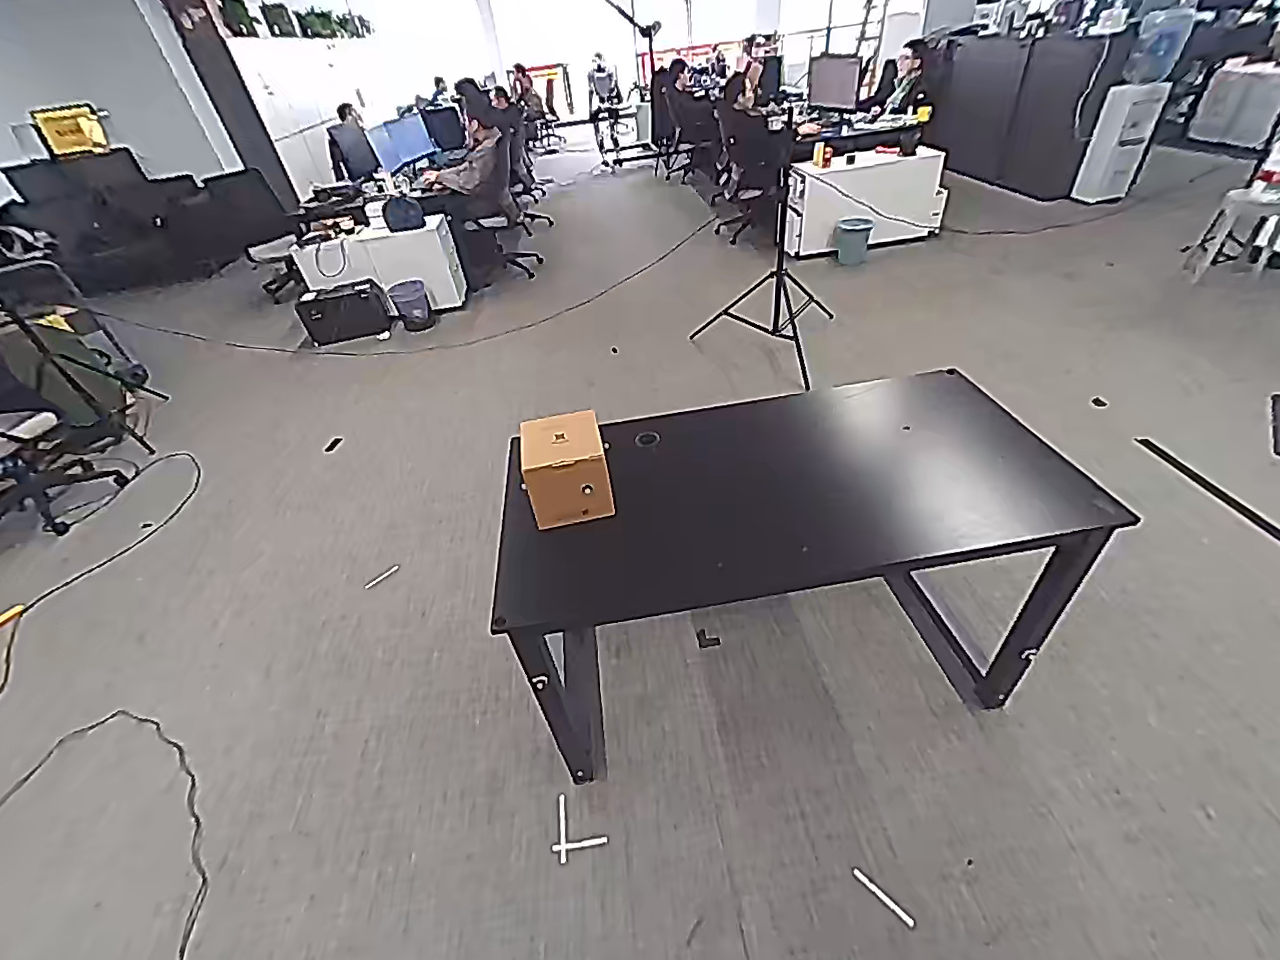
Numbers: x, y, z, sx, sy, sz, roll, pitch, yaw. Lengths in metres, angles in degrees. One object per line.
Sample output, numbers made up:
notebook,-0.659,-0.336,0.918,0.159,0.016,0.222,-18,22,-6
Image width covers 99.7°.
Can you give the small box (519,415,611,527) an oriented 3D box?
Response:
small box,-0.162,-0.014,1.173,0.168,0.176,0.179,-11,39,-6
